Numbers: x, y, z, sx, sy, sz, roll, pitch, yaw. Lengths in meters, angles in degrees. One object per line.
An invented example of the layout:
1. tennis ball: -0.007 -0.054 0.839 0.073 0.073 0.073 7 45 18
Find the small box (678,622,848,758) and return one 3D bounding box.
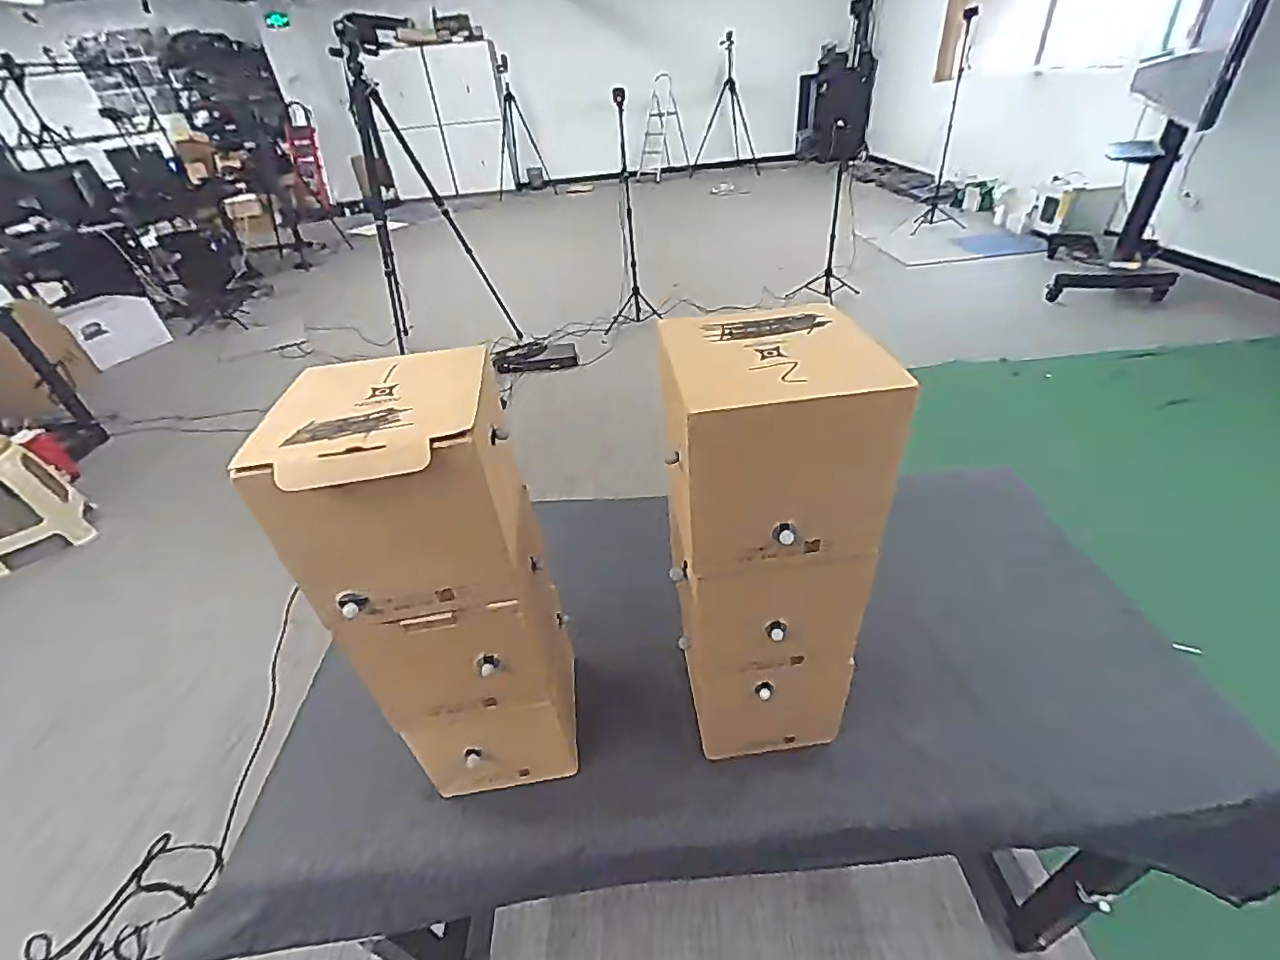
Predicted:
1. small box: 0.140 0.219 0.689 0.168 0.176 0.179 -7 36 -2

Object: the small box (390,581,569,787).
1. small box: -0.182 0.257 0.675 0.168 0.176 0.179 -8 36 -4

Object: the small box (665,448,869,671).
1. small box: 0.122 0.088 0.588 0.168 0.176 0.179 -6 37 -3

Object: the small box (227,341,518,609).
1. small box: -0.205 -0.004 0.479 0.168 0.176 0.179 -8 36 -7

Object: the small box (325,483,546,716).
1. small box: -0.194 0.129 0.576 0.168 0.176 0.179 -7 36 -5
